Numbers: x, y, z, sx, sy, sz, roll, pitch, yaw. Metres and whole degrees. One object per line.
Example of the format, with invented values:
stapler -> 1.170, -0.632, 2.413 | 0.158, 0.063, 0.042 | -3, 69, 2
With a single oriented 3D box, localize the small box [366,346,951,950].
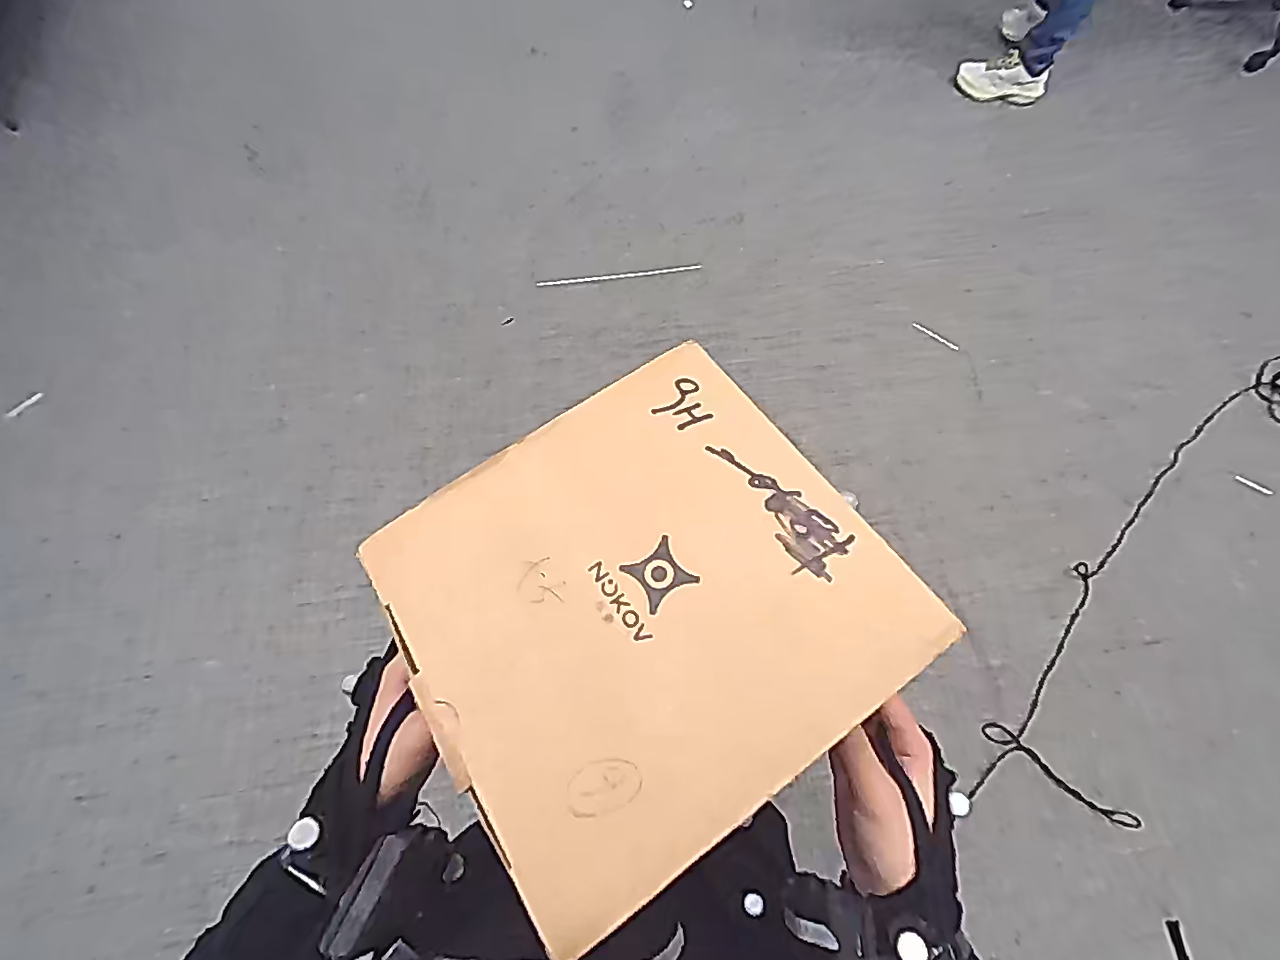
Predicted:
small box -> 0.006, 0.074, 0.282 | 0.179, 0.176, 0.168 | -34, 68, -10
